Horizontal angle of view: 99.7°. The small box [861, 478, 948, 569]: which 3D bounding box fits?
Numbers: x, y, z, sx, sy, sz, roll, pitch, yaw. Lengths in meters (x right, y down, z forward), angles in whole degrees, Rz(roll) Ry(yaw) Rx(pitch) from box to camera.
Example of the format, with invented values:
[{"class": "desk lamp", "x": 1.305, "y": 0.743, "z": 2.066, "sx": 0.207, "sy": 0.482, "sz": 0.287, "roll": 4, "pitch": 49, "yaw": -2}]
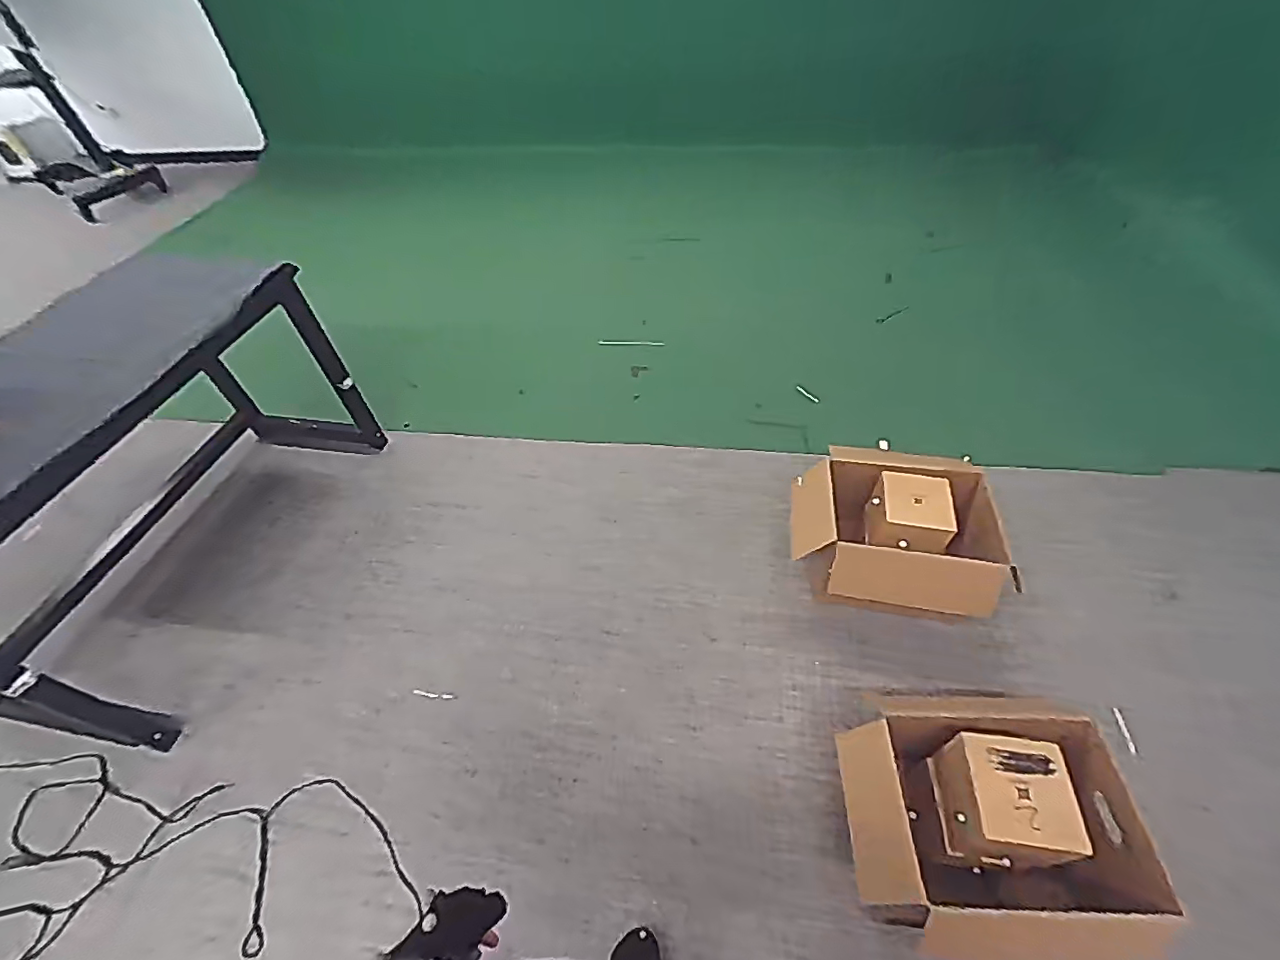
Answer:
[{"class": "small box", "x": 0.707, "y": 0.121, "z": 1.465, "sx": 0.168, "sy": 0.176, "sz": 0.179, "roll": 8, "pitch": 50, "yaw": 10}]
